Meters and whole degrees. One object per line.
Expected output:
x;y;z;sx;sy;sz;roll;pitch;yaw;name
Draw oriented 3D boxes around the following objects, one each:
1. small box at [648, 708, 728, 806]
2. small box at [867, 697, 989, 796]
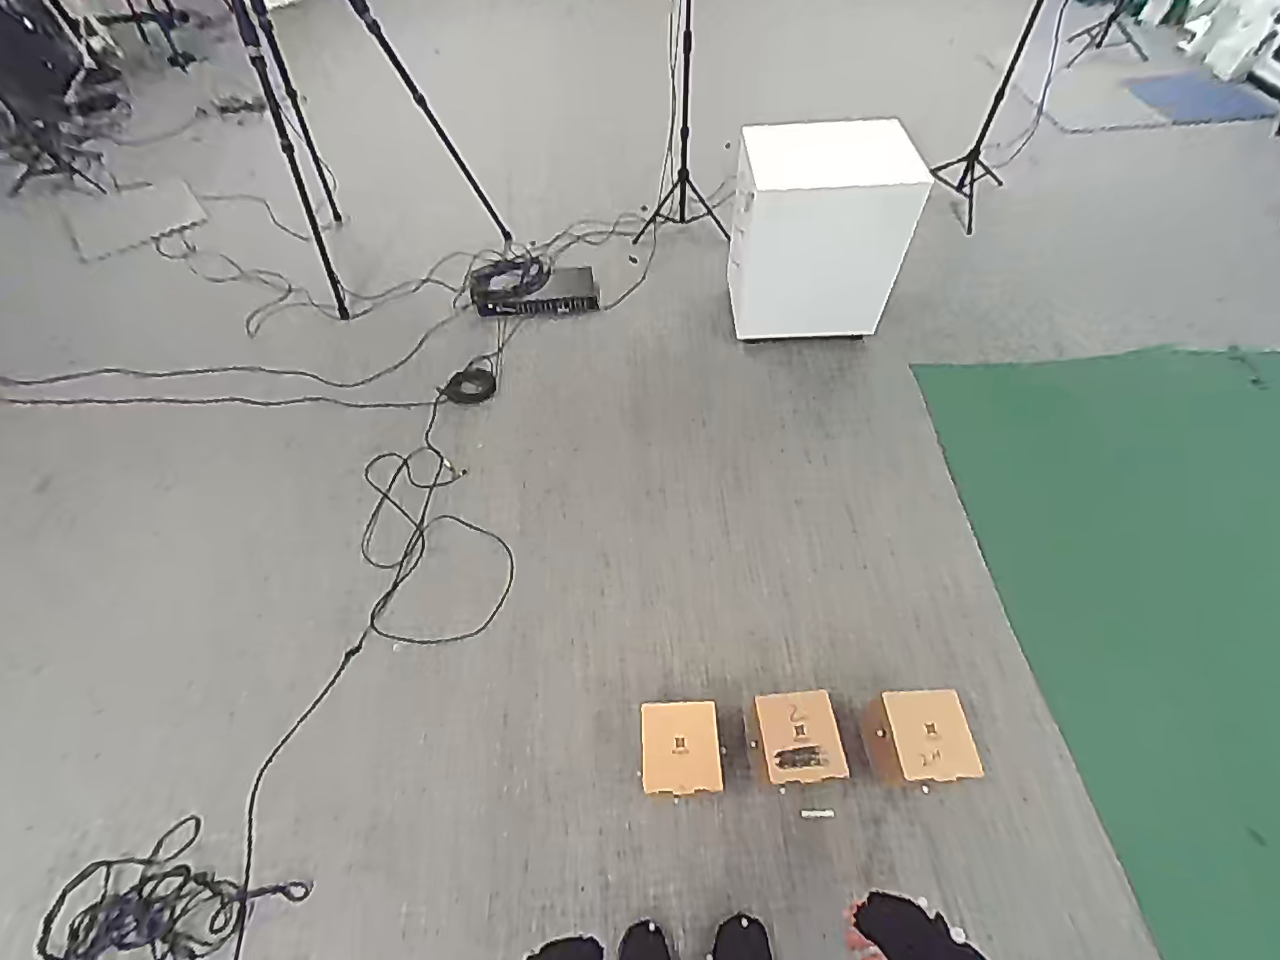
0.103;0.630;1.226;0.168;0.176;0.179;-3;55;2;small box
0.632;0.602;1.215;0.168;0.176;0.179;-3;55;2;small box
